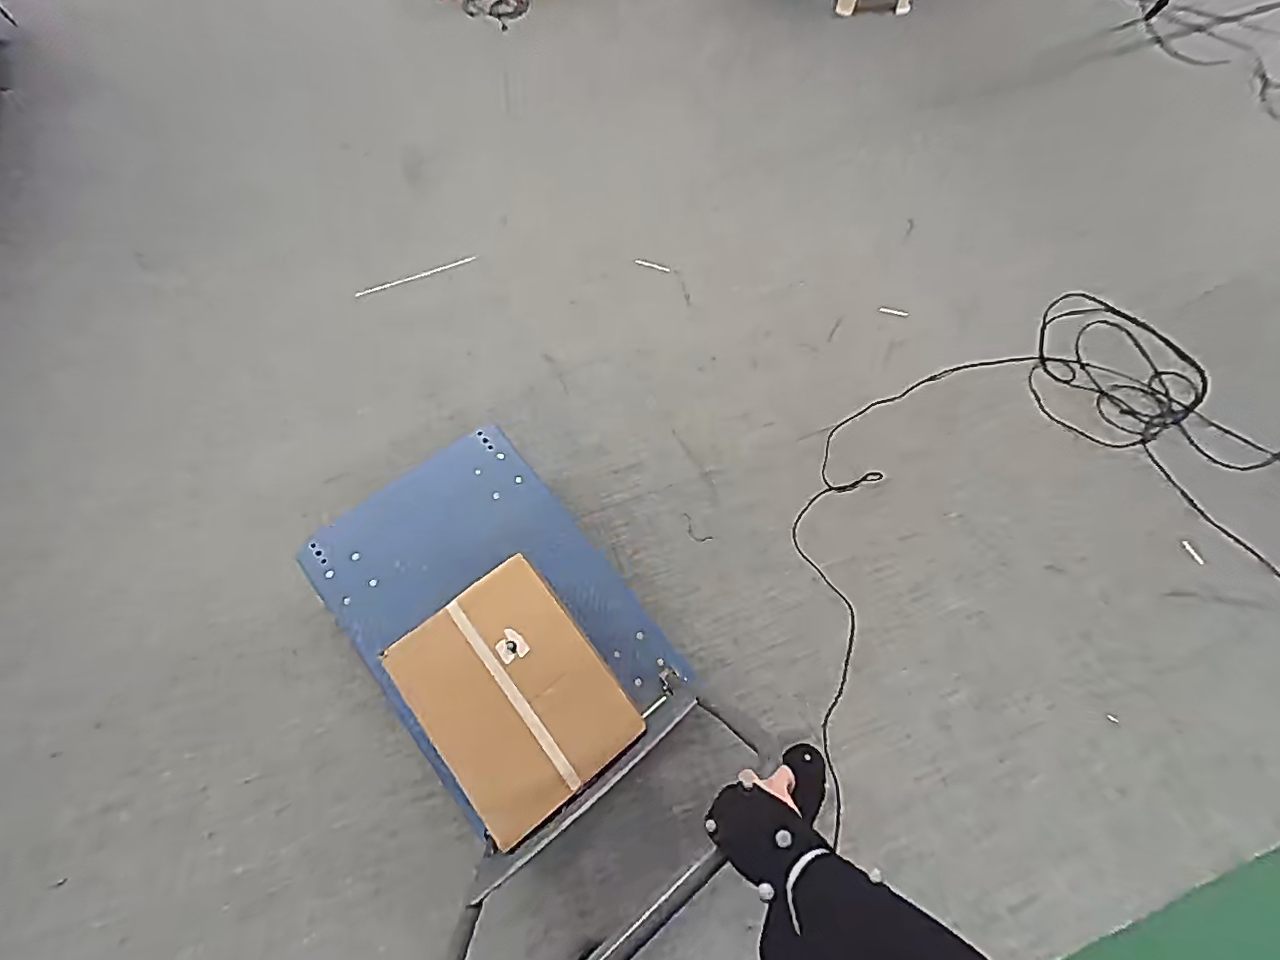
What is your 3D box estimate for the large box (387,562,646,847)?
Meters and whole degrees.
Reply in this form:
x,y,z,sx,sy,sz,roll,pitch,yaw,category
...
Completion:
x,y,z,sx,sy,sz,roll,pitch,yaw,category
-0.232,0.439,1.133,0.320,0.320,0.408,-37,77,-14,large box
